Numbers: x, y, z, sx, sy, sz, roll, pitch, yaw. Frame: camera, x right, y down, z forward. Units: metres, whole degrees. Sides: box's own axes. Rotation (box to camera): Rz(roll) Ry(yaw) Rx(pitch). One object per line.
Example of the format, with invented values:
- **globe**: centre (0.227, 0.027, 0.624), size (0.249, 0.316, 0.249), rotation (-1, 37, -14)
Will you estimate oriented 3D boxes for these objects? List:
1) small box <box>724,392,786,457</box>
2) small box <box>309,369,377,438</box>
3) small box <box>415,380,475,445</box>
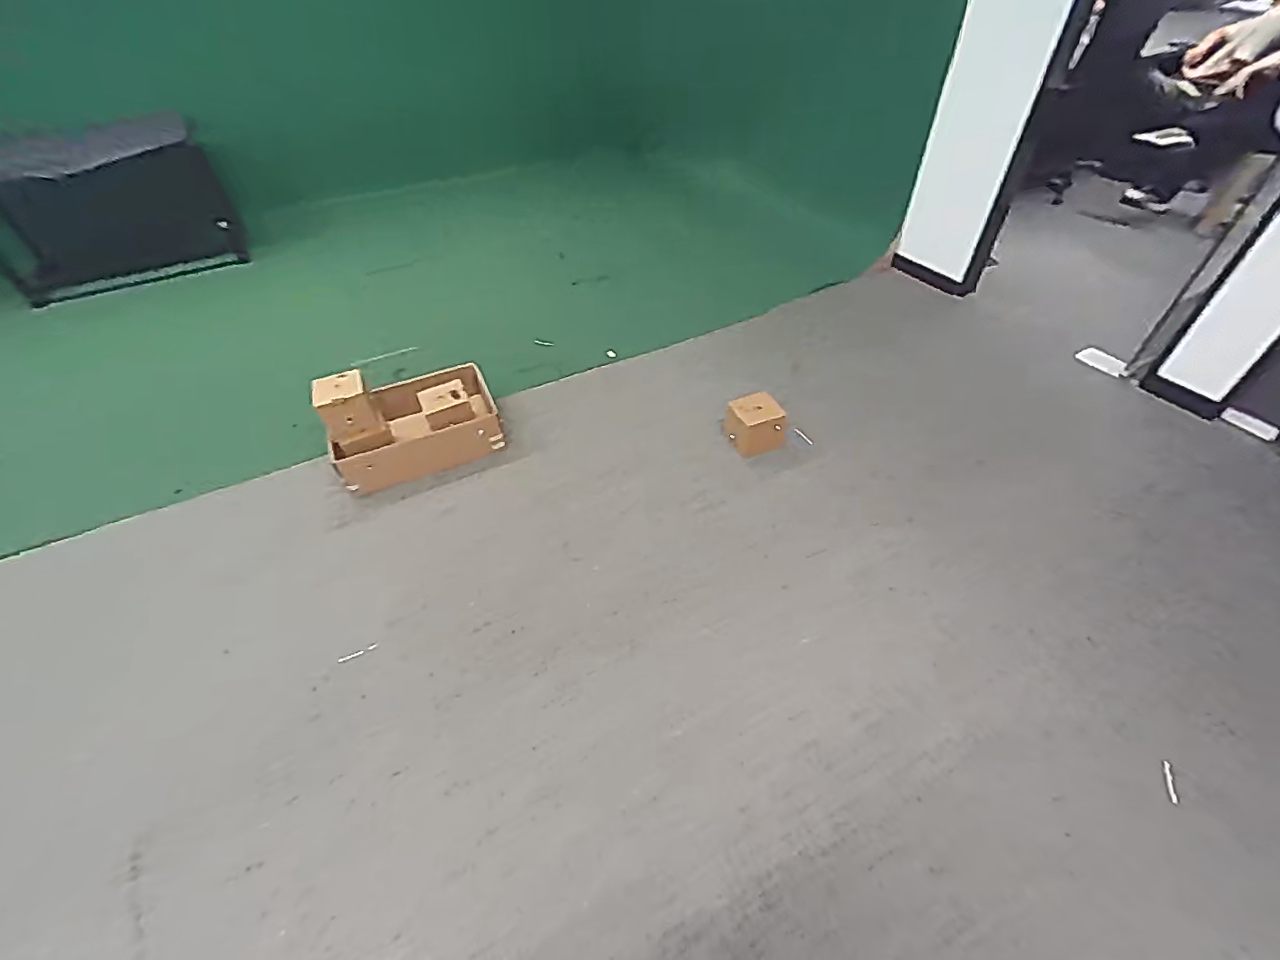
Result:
- **small box**: centre (0.445, -0.217, 2.126), size (0.179, 0.176, 0.168), rotation (-18, 47, -13)
- **small box**: centre (-1.074, -0.271, 1.962), size (0.168, 0.176, 0.179), rotation (-19, 49, -15)
- **small box**: centre (-0.777, -0.270, 2.172), size (0.179, 0.176, 0.168), rotation (-22, 49, -15)
